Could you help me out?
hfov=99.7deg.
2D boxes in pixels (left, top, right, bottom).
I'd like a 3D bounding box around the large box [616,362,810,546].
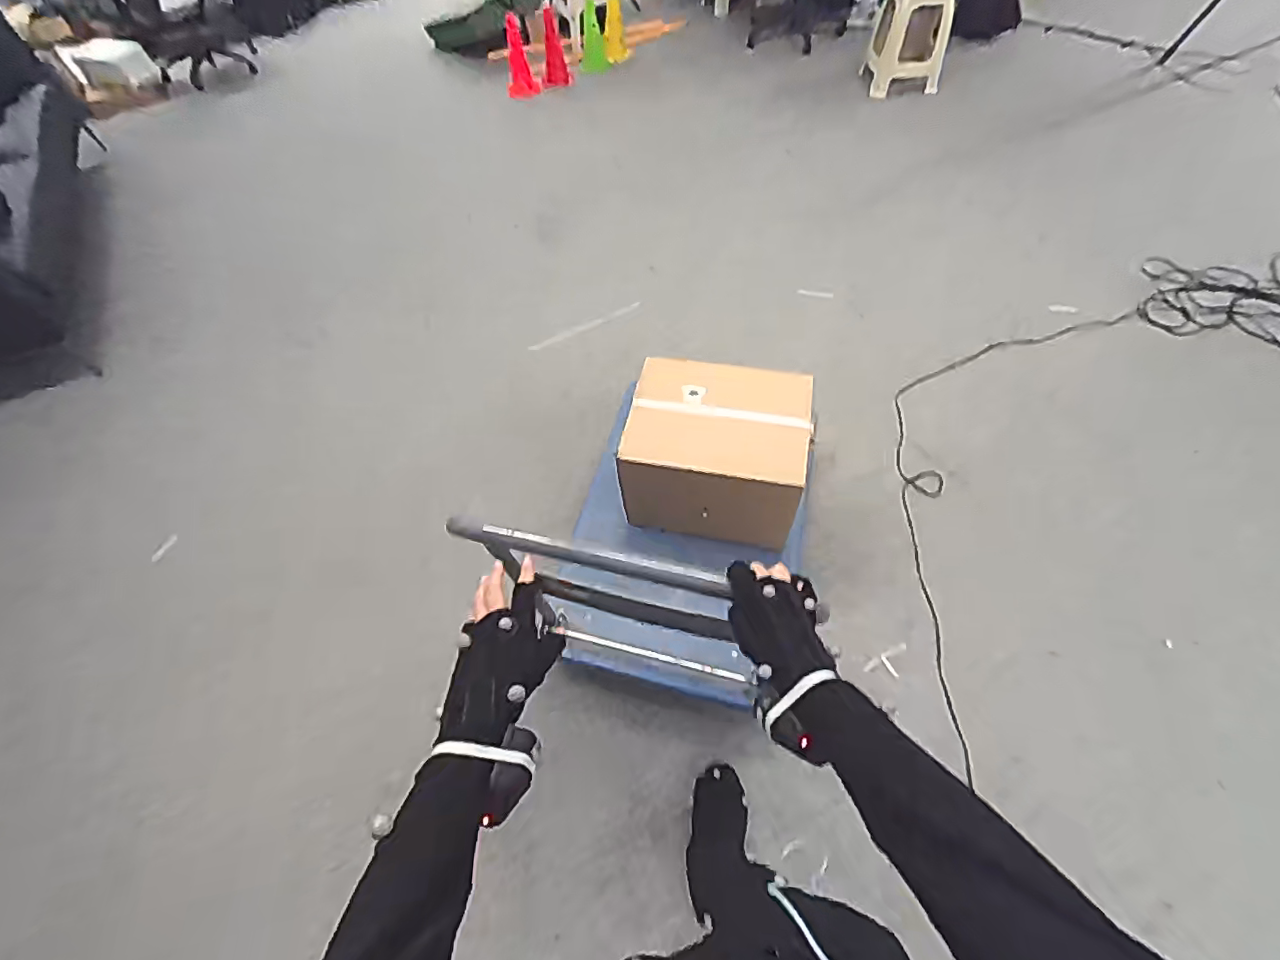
[{"bbox_3d":[0.188,-0.060,1.345,0.408,0.320,0.320,9,58,12],"label":"large box"}]
